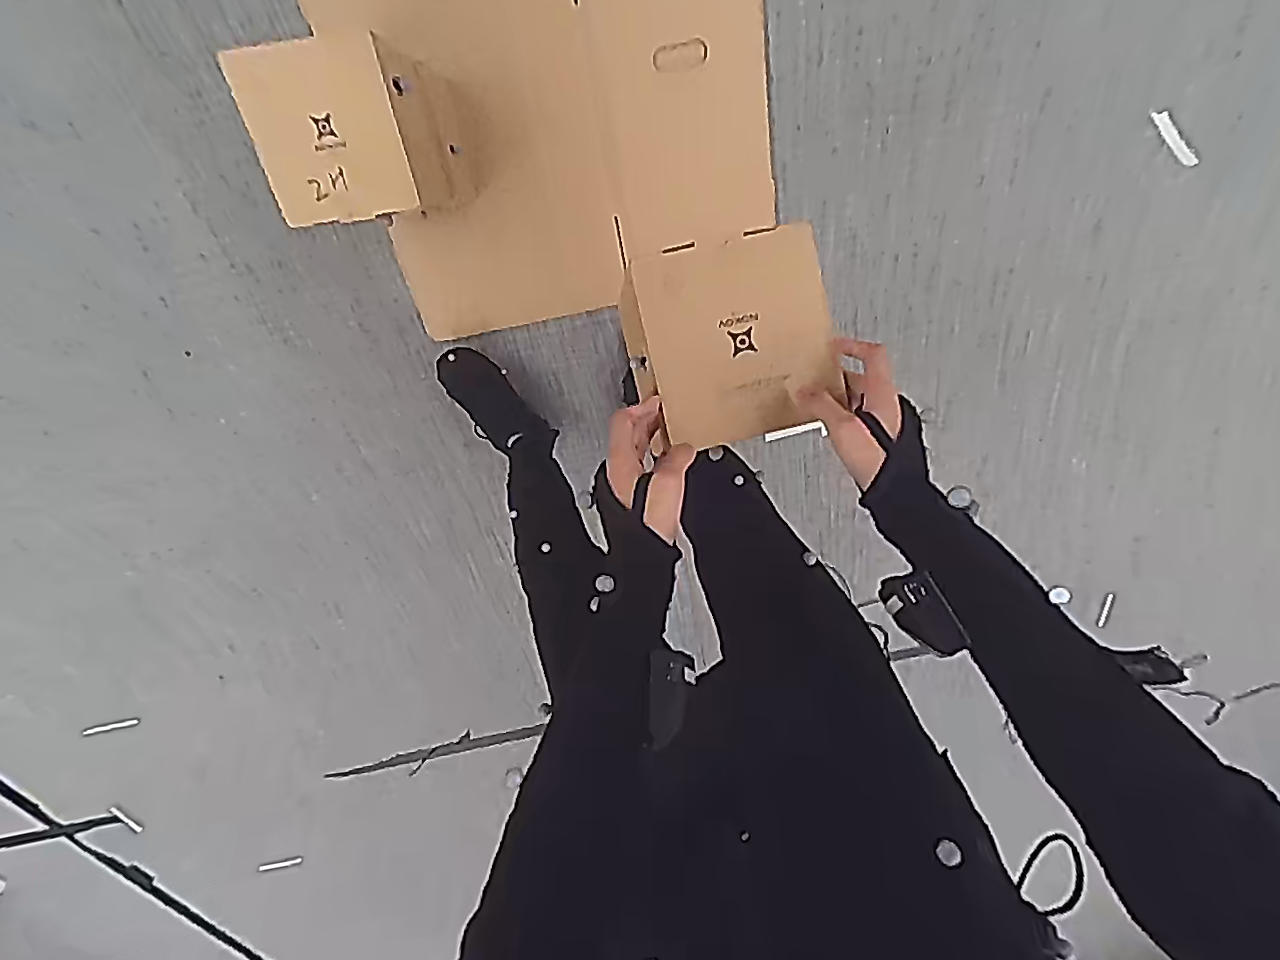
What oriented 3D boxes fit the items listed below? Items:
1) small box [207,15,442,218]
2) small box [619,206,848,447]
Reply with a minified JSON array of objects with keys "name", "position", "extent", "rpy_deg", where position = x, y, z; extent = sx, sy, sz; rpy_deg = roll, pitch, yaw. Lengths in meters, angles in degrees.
[{"name":"small box","position":[-0.365,-0.436,0.669],"extent":[0.168,0.176,0.179],"rpy_deg":[-9,121,-1]},{"name":"small box","position":[0.077,-0.136,0.541],"extent":[0.168,0.176,0.179],"rpy_deg":[-14,93,-3]}]
